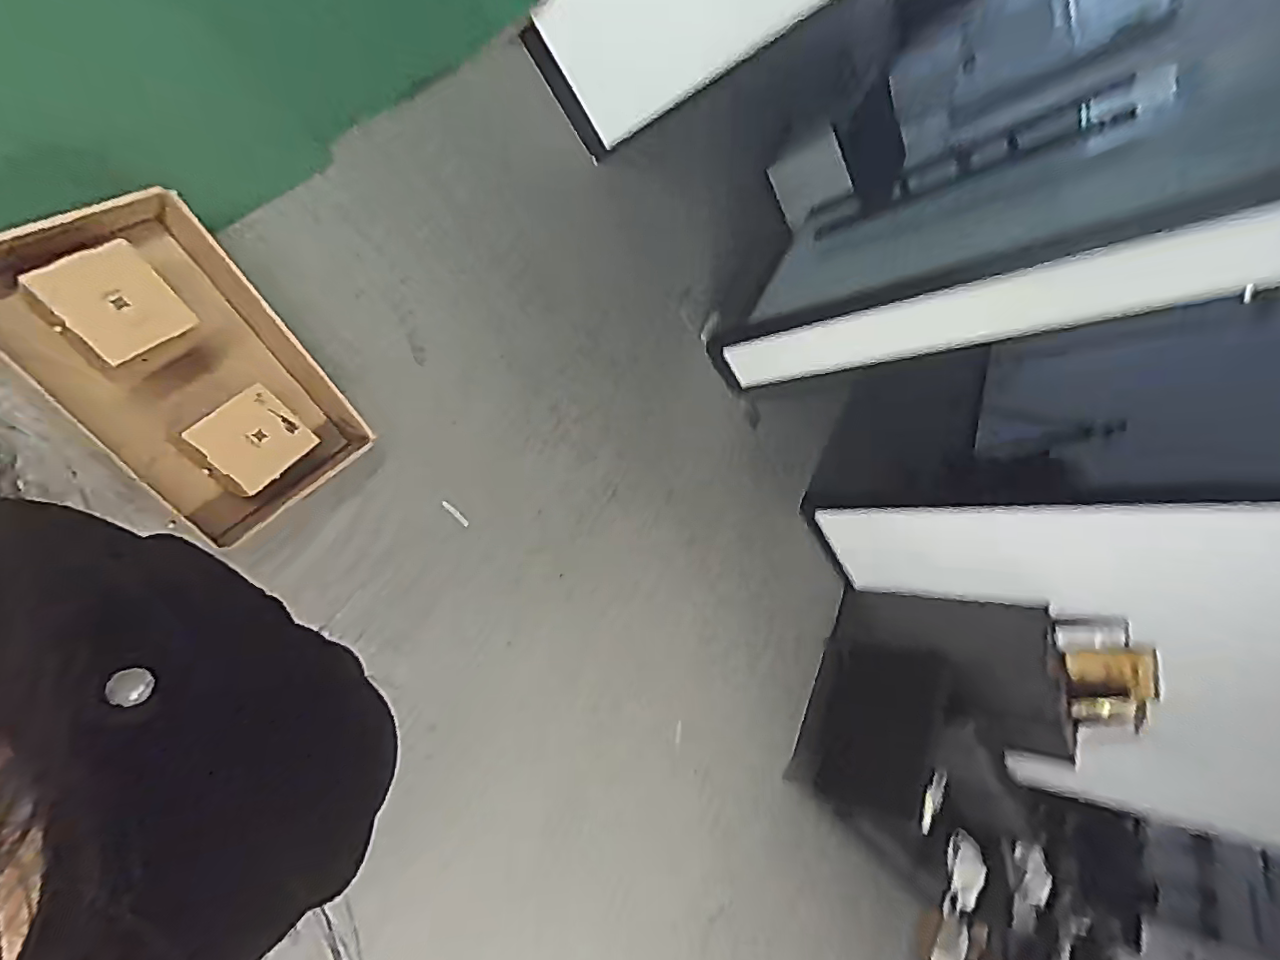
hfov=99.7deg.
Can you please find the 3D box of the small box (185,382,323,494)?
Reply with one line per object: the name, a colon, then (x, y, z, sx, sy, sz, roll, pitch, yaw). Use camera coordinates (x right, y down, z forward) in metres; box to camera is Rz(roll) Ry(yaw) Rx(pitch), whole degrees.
small box: (-0.832, -0.084, 1.162, 0.179, 0.176, 0.168, -54, 124, -32)
